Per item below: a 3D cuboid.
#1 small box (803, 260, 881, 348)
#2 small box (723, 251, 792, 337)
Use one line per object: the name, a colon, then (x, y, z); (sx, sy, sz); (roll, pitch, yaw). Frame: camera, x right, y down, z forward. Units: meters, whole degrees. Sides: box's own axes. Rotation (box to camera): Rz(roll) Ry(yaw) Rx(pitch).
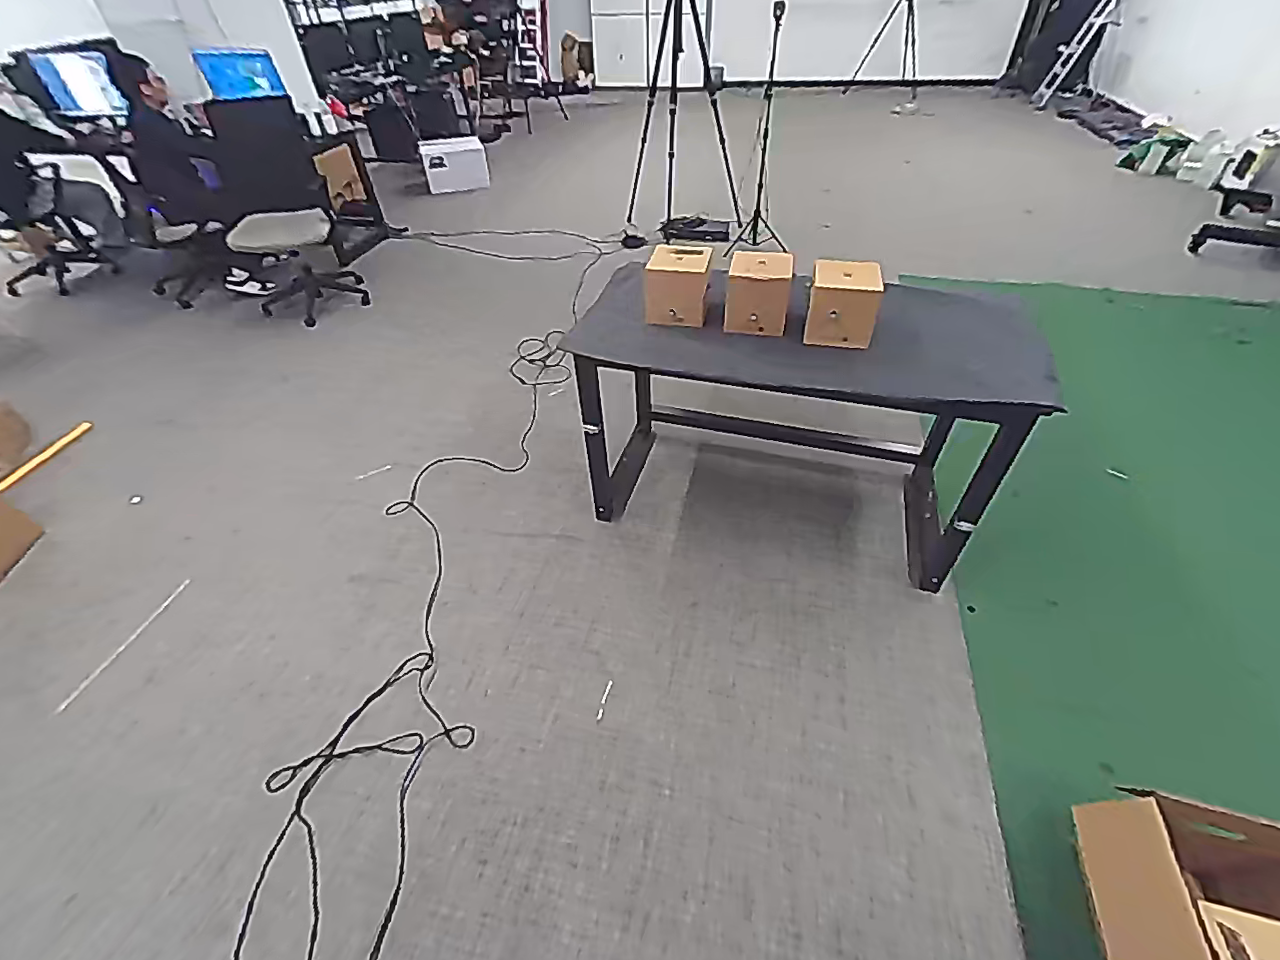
small box: (0.536, -0.471, 1.451); (0.168, 0.176, 0.179); (8, 44, 11)
small box: (0.327, -0.523, 1.513); (0.168, 0.176, 0.179); (7, 44, 11)
